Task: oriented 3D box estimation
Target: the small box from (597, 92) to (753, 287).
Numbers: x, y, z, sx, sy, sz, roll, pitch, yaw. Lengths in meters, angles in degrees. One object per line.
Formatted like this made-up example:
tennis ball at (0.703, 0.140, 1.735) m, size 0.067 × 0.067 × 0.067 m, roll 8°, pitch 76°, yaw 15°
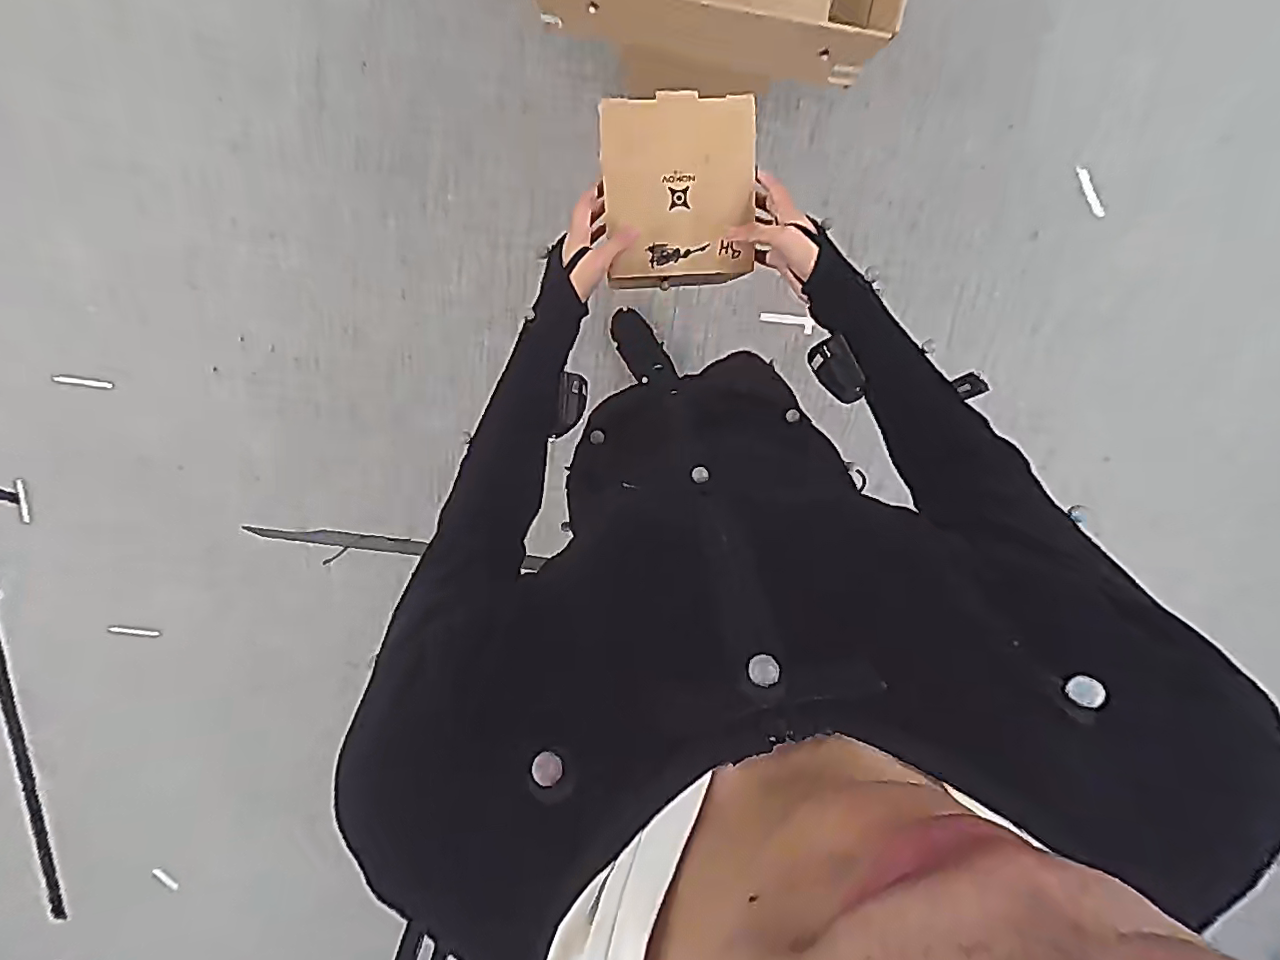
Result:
small box at (0.033, -0.334, 0.653) m, size 0.168 × 0.176 × 0.179 m, roll -3°, pitch 106°, yaw -2°
